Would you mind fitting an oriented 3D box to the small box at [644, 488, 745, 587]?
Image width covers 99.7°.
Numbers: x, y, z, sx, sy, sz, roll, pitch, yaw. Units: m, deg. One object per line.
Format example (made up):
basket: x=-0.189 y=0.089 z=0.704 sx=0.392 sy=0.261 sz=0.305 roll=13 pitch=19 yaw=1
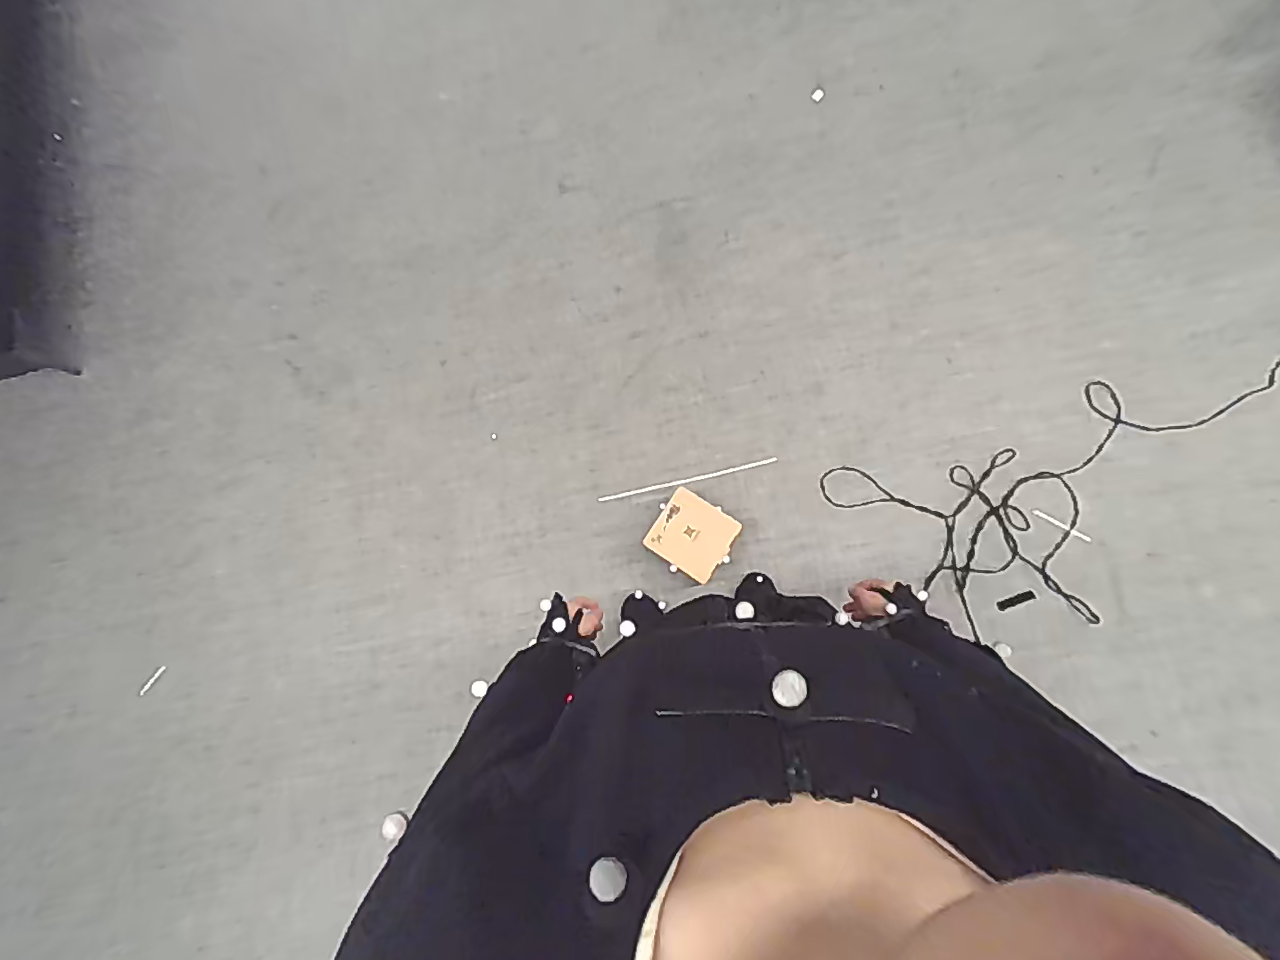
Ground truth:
small box: x=0.132 y=0.140 z=1.304 sx=0.179 sy=0.176 sz=0.168 roll=33 pitch=85 yaw=11
